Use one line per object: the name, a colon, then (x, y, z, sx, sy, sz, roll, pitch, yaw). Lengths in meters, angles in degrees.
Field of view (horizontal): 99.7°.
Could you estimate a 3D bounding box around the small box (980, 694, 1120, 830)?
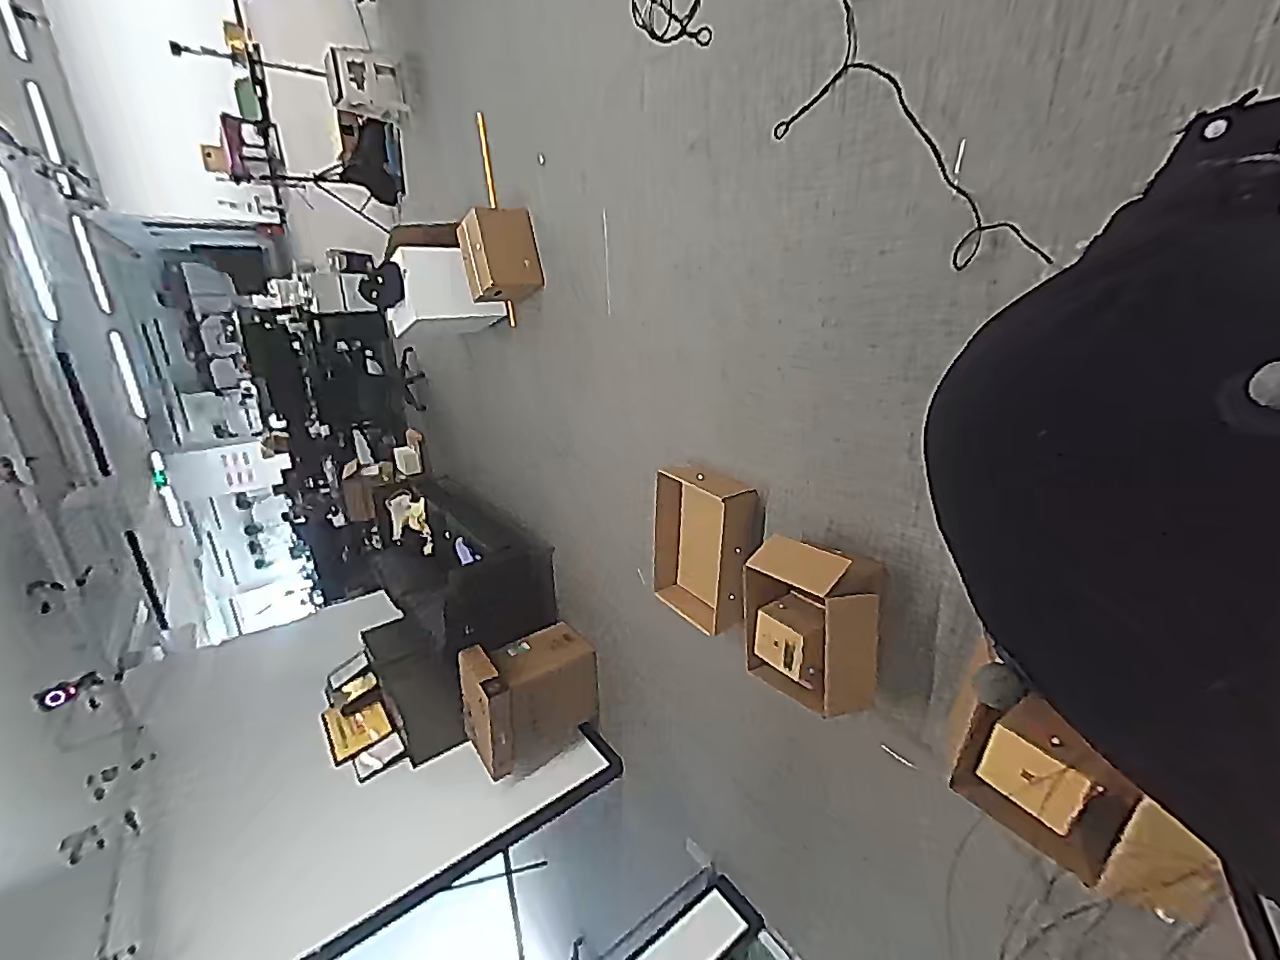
small box: (0.889, 0.597, 1.177, 0.179, 0.176, 0.168, 29, 125, 46)
